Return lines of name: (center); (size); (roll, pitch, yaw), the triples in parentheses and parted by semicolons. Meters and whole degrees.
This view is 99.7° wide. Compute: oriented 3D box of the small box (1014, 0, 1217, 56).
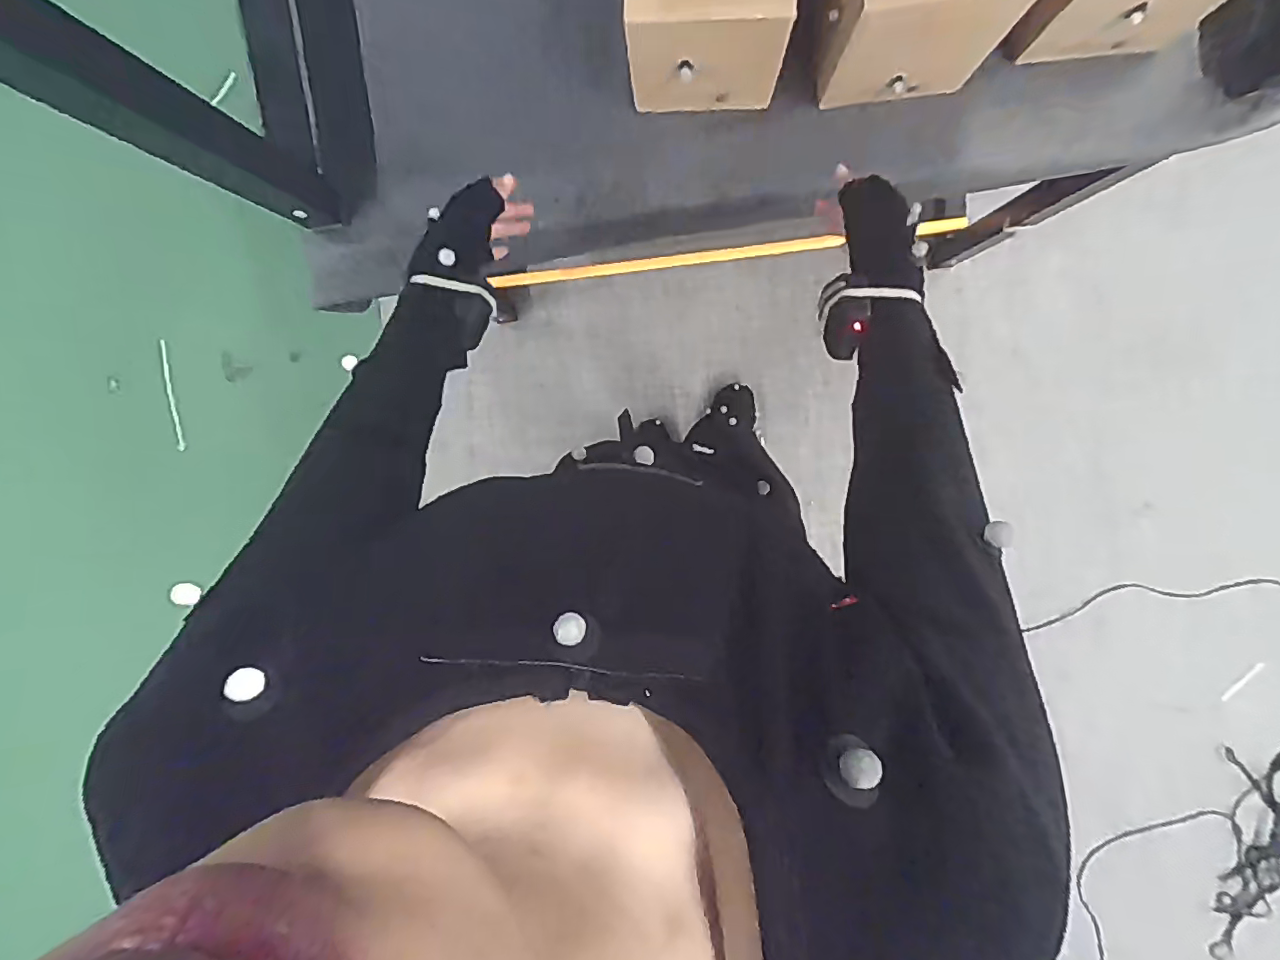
small box: (0.513, -0.570, 0.547); (0.168, 0.176, 0.179); (-2, 97, 4)

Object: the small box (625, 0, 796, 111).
small box: (0.075, -0.532, 0.587); (0.168, 0.176, 0.179); (1, 97, 4)
